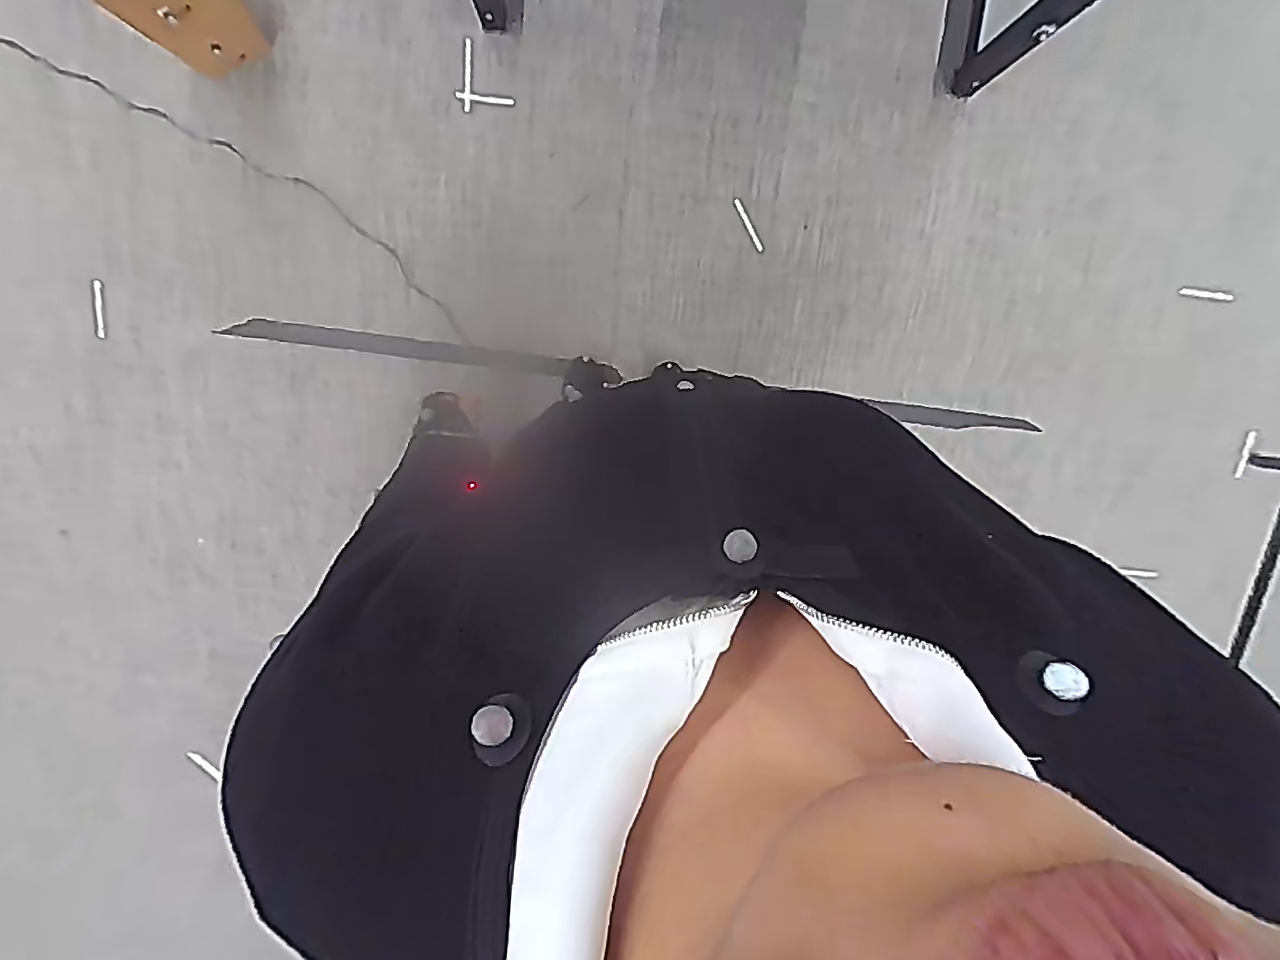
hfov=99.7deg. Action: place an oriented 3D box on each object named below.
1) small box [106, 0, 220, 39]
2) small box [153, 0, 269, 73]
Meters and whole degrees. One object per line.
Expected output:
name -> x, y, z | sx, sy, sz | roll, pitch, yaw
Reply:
small box -> -0.943, -0.981, 0.995 | 0.168, 0.176, 0.179 | -30, 103, 5
small box -> -0.949, -1.019, 1.154 | 0.168, 0.176, 0.179 | -26, 102, 2
